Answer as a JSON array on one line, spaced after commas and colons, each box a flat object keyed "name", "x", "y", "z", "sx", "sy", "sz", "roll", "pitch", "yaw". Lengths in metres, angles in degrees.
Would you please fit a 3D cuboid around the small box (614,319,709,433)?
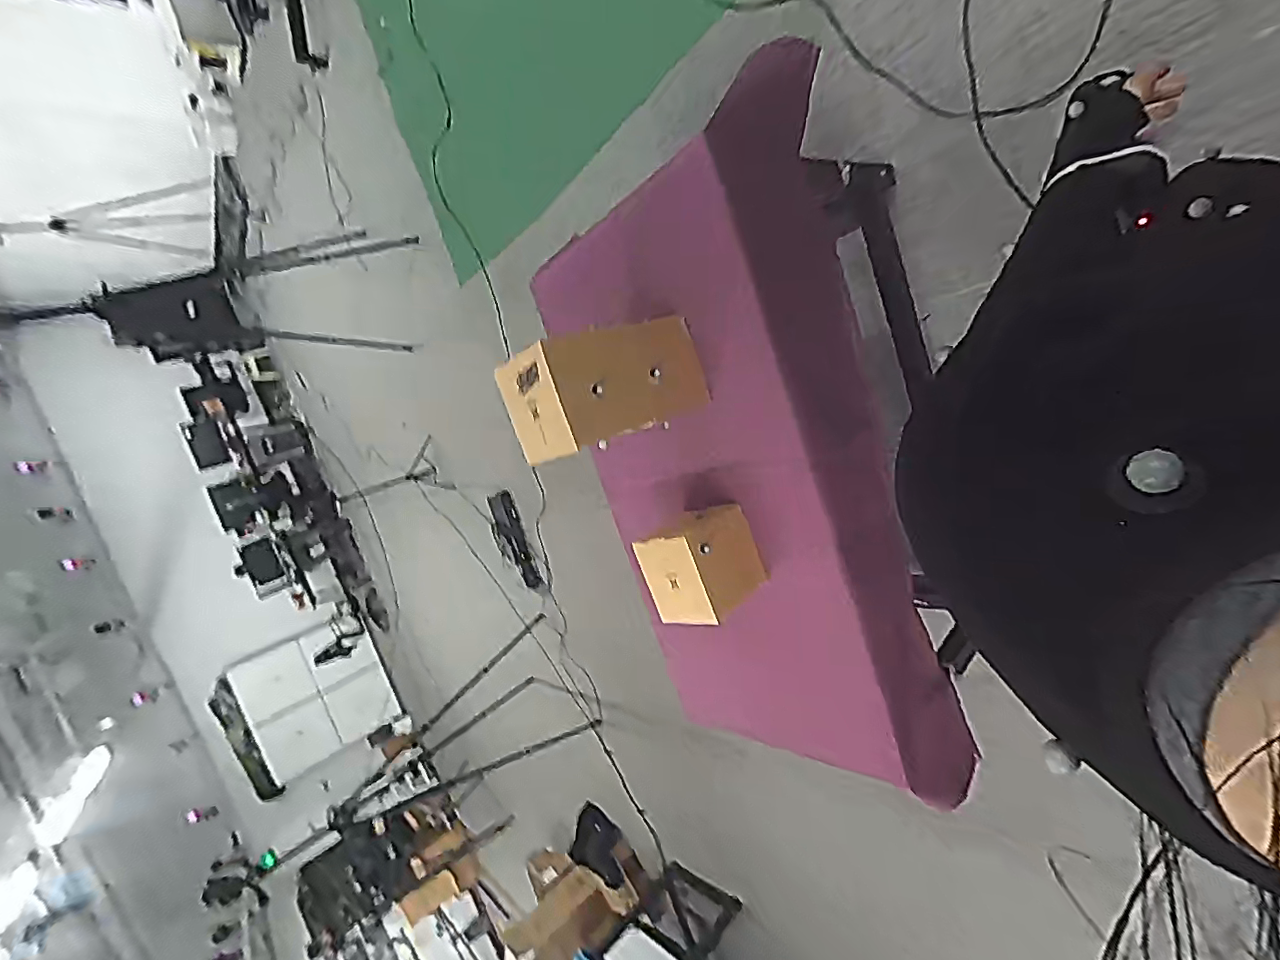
[{"name": "small box", "x": 0.008, "y": -0.192, "z": 1.037, "sx": 0.168, "sy": 0.176, "sz": 0.179, "roll": -10, "pitch": 101, "yaw": 50}]

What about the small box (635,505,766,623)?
[{"name": "small box", "x": 0.126, "y": 0.169, "z": 1.093, "sx": 0.168, "sy": 0.176, "sz": 0.179, "roll": -17, "pitch": 95, "yaw": 52}]

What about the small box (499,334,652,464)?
[{"name": "small box", "x": -0.109, "y": -0.143, "z": 0.934, "sx": 0.168, "sy": 0.176, "sz": 0.179, "roll": -10, "pitch": 102, "yaw": 50}]
